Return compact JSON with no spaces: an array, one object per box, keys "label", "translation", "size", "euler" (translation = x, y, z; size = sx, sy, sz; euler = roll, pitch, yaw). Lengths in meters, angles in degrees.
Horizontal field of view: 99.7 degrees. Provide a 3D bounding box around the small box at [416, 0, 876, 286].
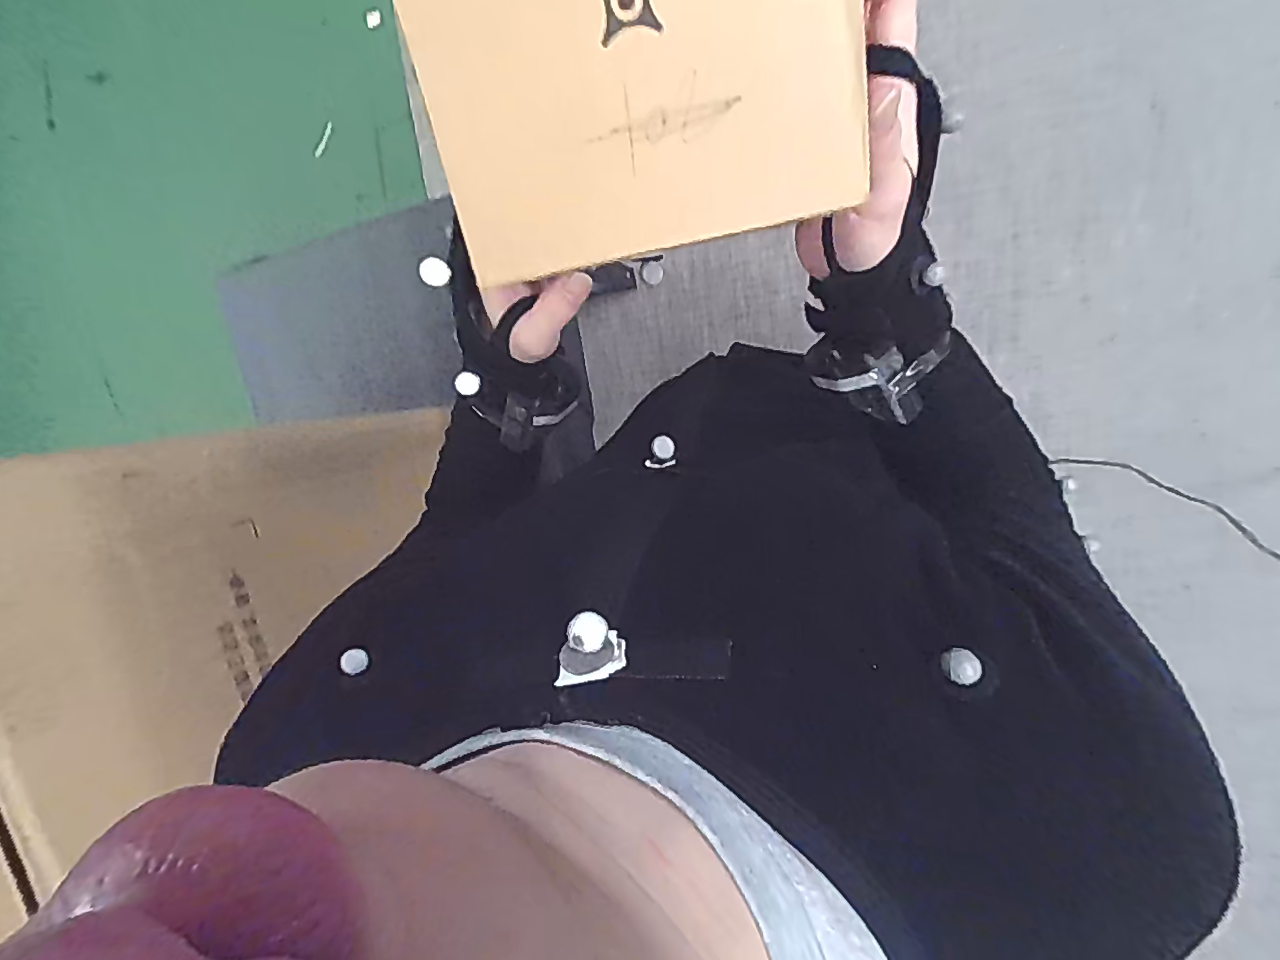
[{"label":"small box","translation":[0.002,-0.203,0.269],"size":[0.168,0.176,0.179],"euler":[-9,112,5]}]
